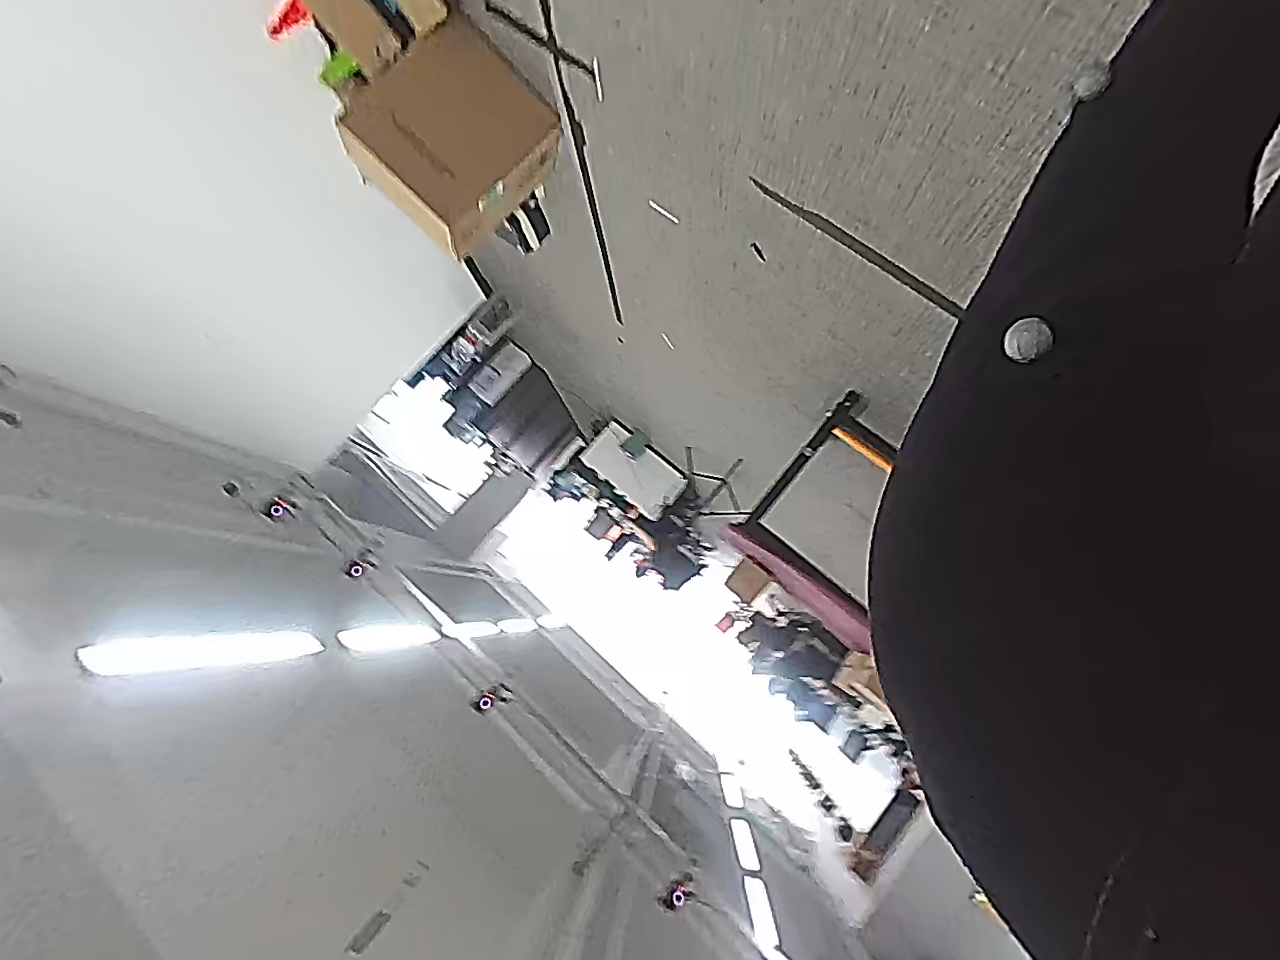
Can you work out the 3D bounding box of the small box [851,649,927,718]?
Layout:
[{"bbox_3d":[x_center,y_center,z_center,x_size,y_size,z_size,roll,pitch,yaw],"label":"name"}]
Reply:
[{"bbox_3d":[0.949,0.769,2.066,0.179,0.176,0.168,39,173,14],"label":"small box"}]

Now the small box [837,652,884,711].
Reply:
[{"bbox_3d":[0.981,0.858,2.325,0.179,0.168,0.176,33,173,8],"label":"small box"}]
